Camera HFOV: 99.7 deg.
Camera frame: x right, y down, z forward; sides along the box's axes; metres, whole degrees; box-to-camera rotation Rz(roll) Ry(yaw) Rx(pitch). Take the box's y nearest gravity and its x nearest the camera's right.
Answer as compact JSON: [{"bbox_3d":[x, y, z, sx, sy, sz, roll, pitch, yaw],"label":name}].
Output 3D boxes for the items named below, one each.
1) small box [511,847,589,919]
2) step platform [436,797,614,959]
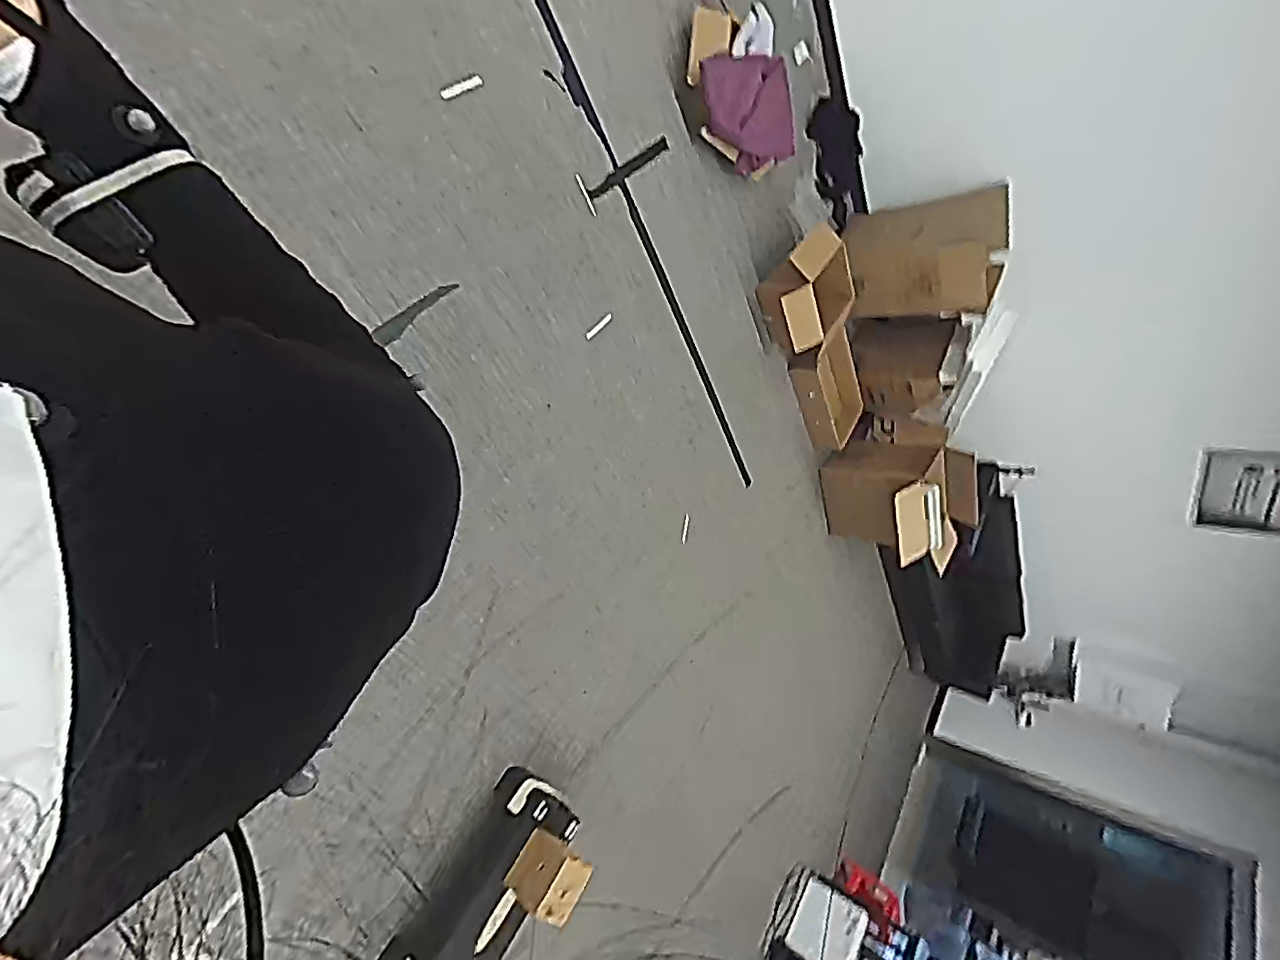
[{"bbox_3d":[-0.298,1.249,1.734,0.179,0.176,0.168,-56,131,-26],"label":"small box"},{"bbox_3d":[-0.371,1.342,1.616,0.684,0.204,0.286,-53,131,-27],"label":"step platform"}]
